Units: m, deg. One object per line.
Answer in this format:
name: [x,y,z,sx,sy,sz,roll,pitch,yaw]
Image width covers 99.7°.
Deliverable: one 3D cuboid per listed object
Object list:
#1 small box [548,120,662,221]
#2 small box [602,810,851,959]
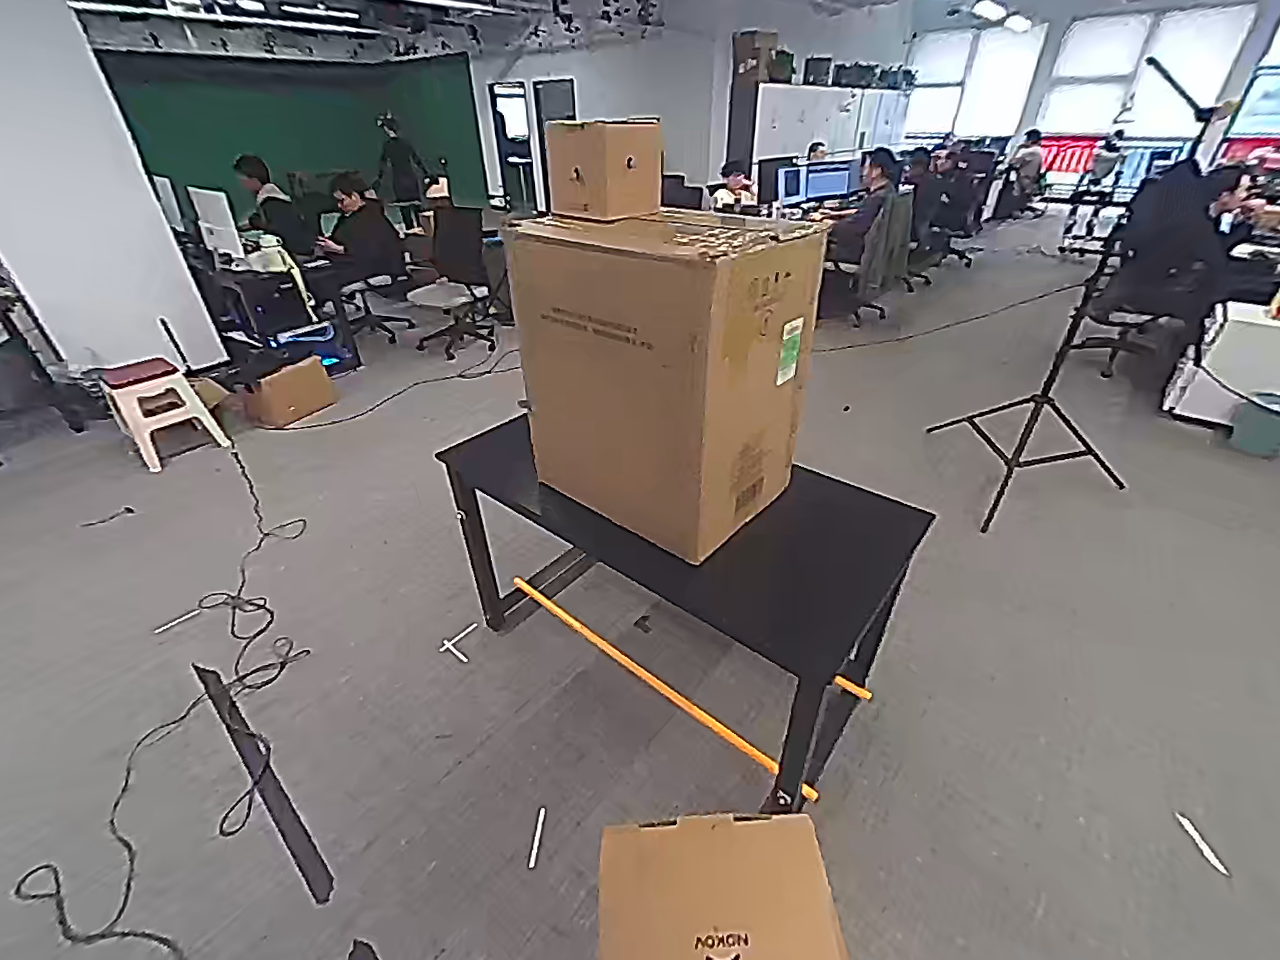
small box: [-0.067,-0.646,1.126,0.168,0.176,0.179,25,41,32]
small box: [0.056,0.373,0.401,0.168,0.176,0.179,-3,42,-2]
